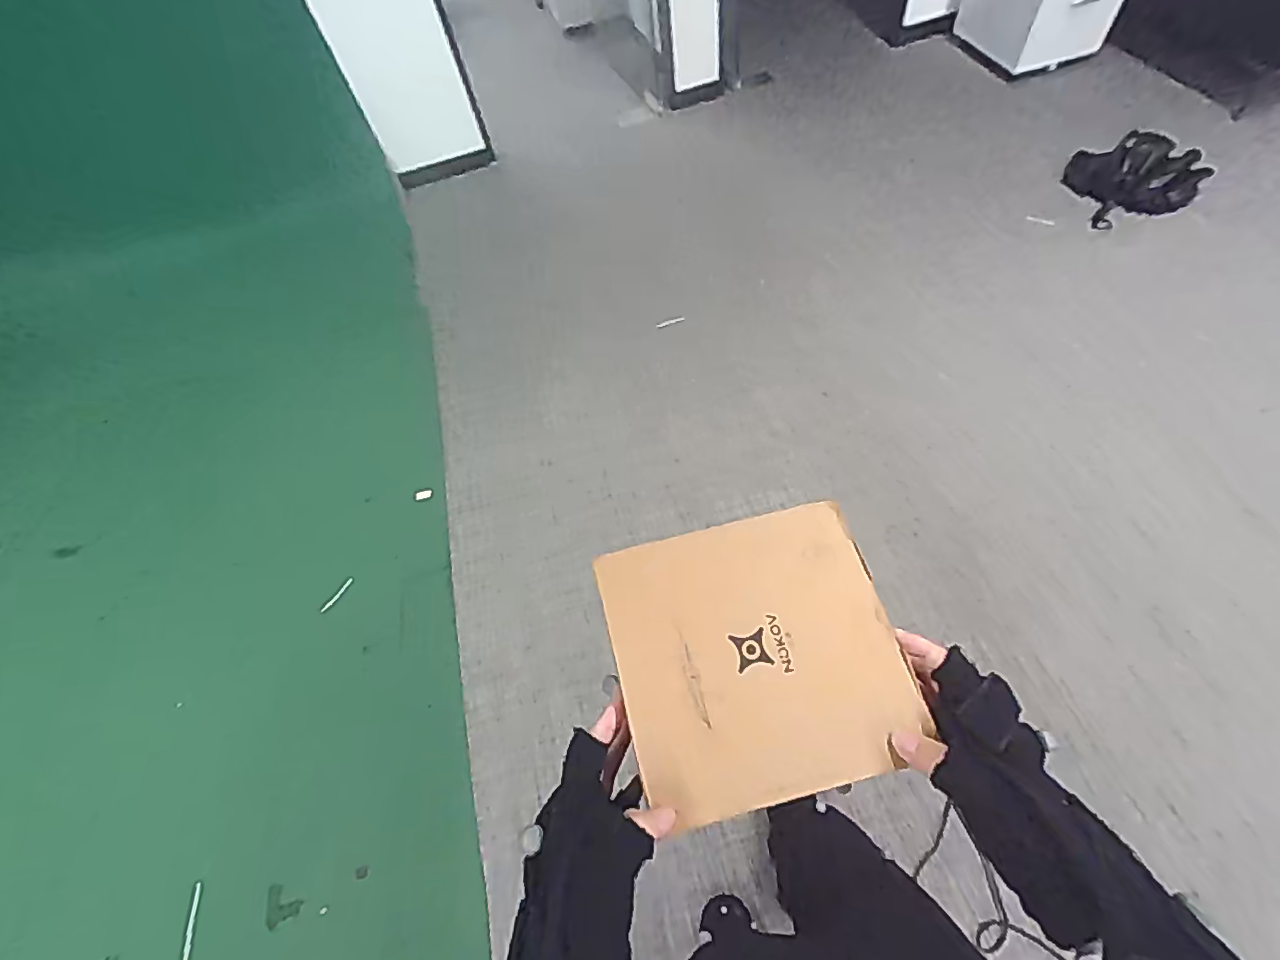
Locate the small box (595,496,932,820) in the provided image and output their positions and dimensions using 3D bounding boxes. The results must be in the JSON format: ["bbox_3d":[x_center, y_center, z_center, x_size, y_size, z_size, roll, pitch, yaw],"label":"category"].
[{"bbox_3d":[0.073,0.134,0.416,0.179,0.176,0.168,-15,65,-3],"label":"small box"}]
